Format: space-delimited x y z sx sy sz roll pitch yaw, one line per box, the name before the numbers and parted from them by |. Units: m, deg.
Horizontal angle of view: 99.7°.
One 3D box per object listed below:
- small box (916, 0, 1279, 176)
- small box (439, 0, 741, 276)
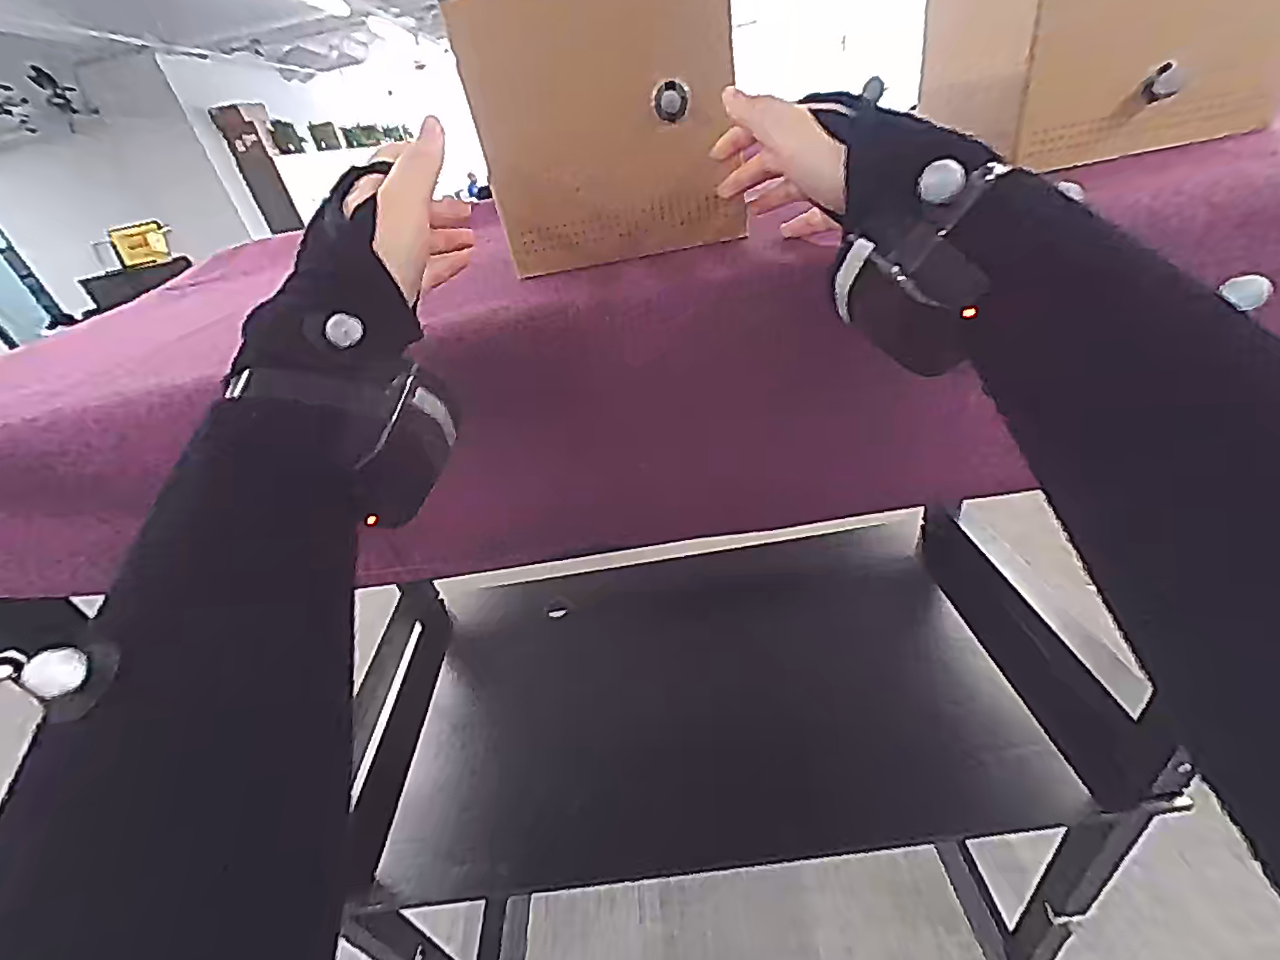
small box | 0.331 -0.340 0.399 0.179 0.176 0.168 -9 32 5
small box | -0.018 -0.274 0.419 0.179 0.176 0.168 -8 32 7
